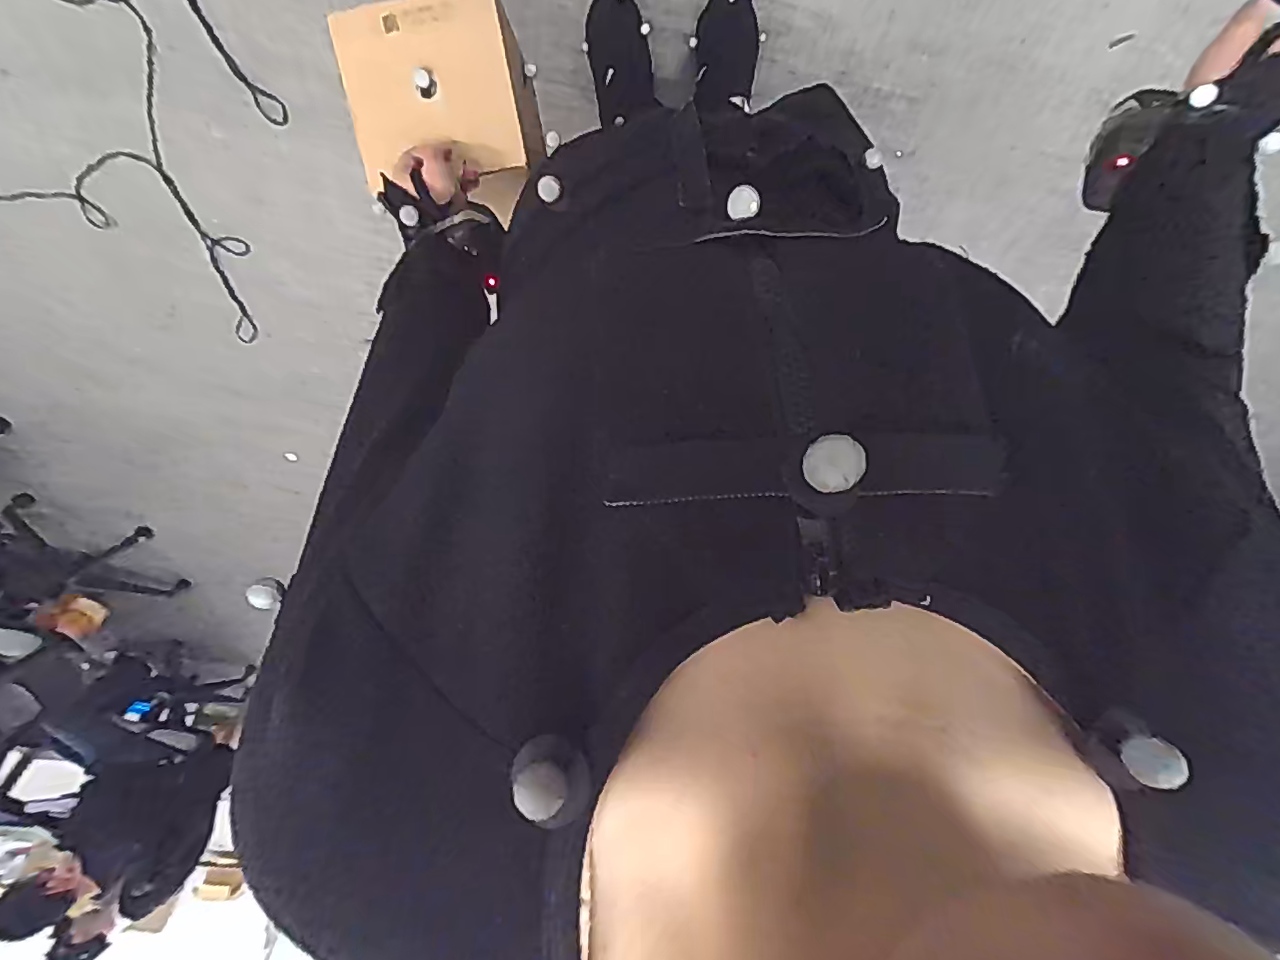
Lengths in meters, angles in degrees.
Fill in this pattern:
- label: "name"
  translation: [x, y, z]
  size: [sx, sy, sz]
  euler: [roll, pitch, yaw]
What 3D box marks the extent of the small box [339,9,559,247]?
- label: "small box"
  translation: [-0.203, -0.389, 0.615]
  size: [0.168, 0.179, 0.176]
  euler: [-11, 100, 4]
